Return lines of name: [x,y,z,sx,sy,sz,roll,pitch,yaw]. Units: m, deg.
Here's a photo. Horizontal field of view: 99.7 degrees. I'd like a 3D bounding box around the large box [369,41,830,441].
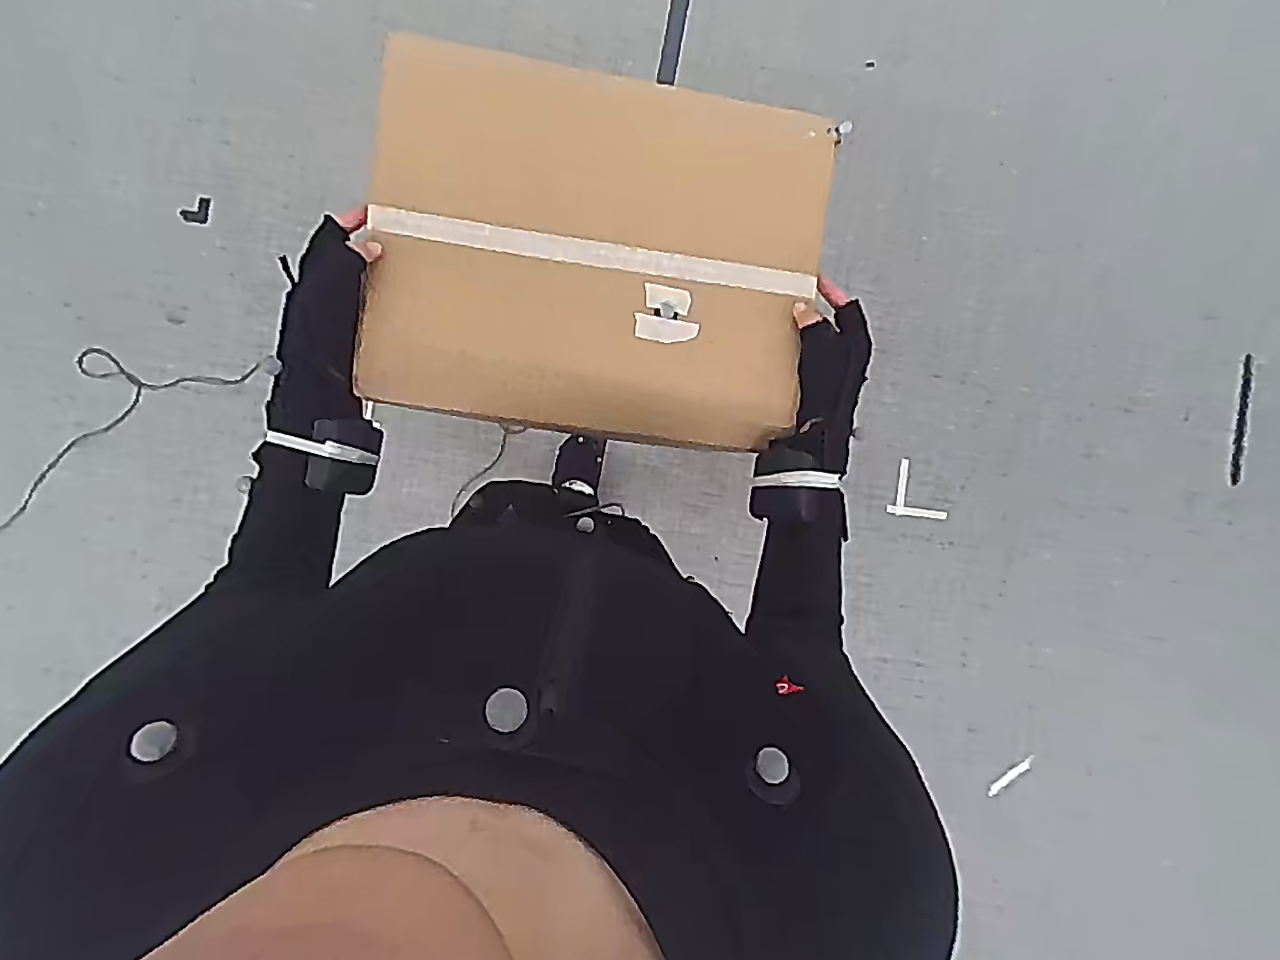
large box: [-0.049,-0.222,0.646,0.408,0.320,0.320,7,94,-6]
